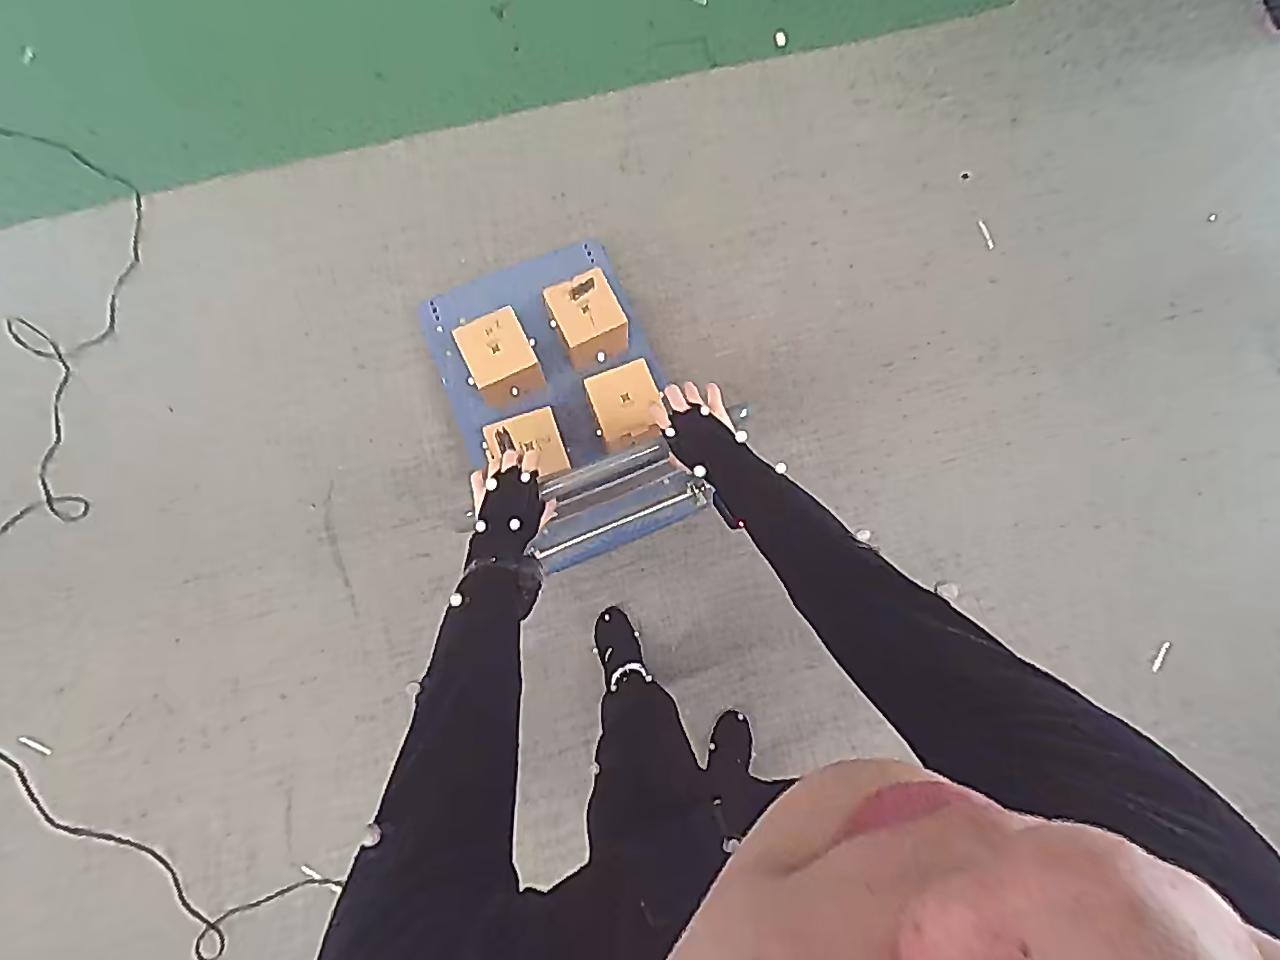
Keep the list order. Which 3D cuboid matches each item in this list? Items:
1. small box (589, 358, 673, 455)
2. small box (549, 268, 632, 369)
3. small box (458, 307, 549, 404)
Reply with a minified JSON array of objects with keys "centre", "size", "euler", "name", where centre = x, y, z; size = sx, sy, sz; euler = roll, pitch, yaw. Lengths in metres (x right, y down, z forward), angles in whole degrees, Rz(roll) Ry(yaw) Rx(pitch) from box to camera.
[{"centre":[-0.027,-0.188,1.427],"size":[0.168,0.176,0.179],"euler":[-21,80,-6],"name":"small box"},{"centre":[-0.132,-0.433,1.474],"size":[0.168,0.176,0.179],"euler":[-26,81,-5],"name":"small box"},{"centre":[-0.357,-0.322,1.448],"size":[0.168,0.176,0.179],"euler":[-26,80,-7],"name":"small box"}]
